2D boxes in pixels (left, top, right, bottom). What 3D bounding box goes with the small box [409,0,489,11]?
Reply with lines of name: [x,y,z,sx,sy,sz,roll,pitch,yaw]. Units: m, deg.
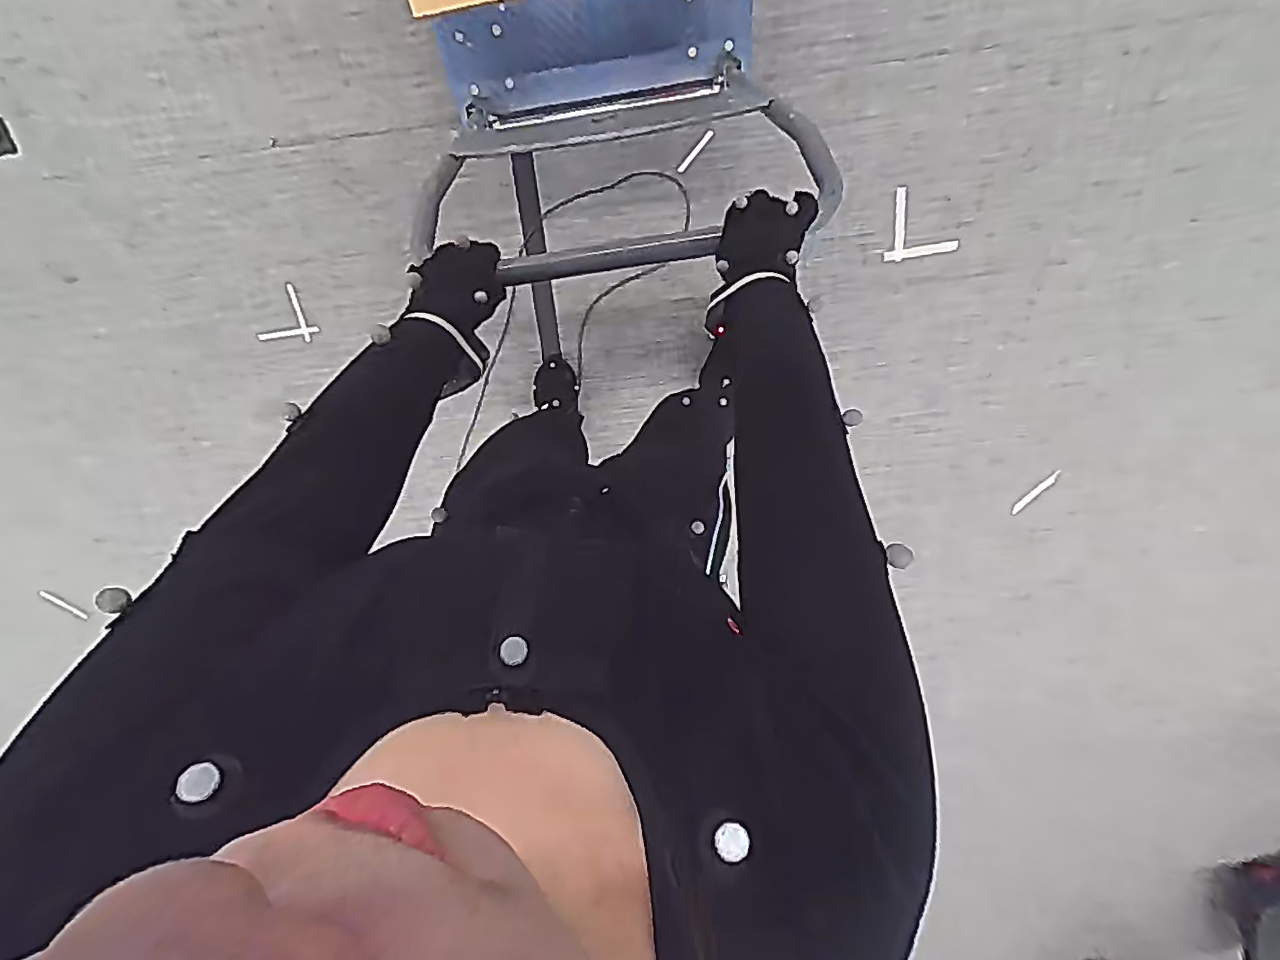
small box: [-0.283,-0.845,0.832,0.179,0.176,0.168,-11,131,3]
